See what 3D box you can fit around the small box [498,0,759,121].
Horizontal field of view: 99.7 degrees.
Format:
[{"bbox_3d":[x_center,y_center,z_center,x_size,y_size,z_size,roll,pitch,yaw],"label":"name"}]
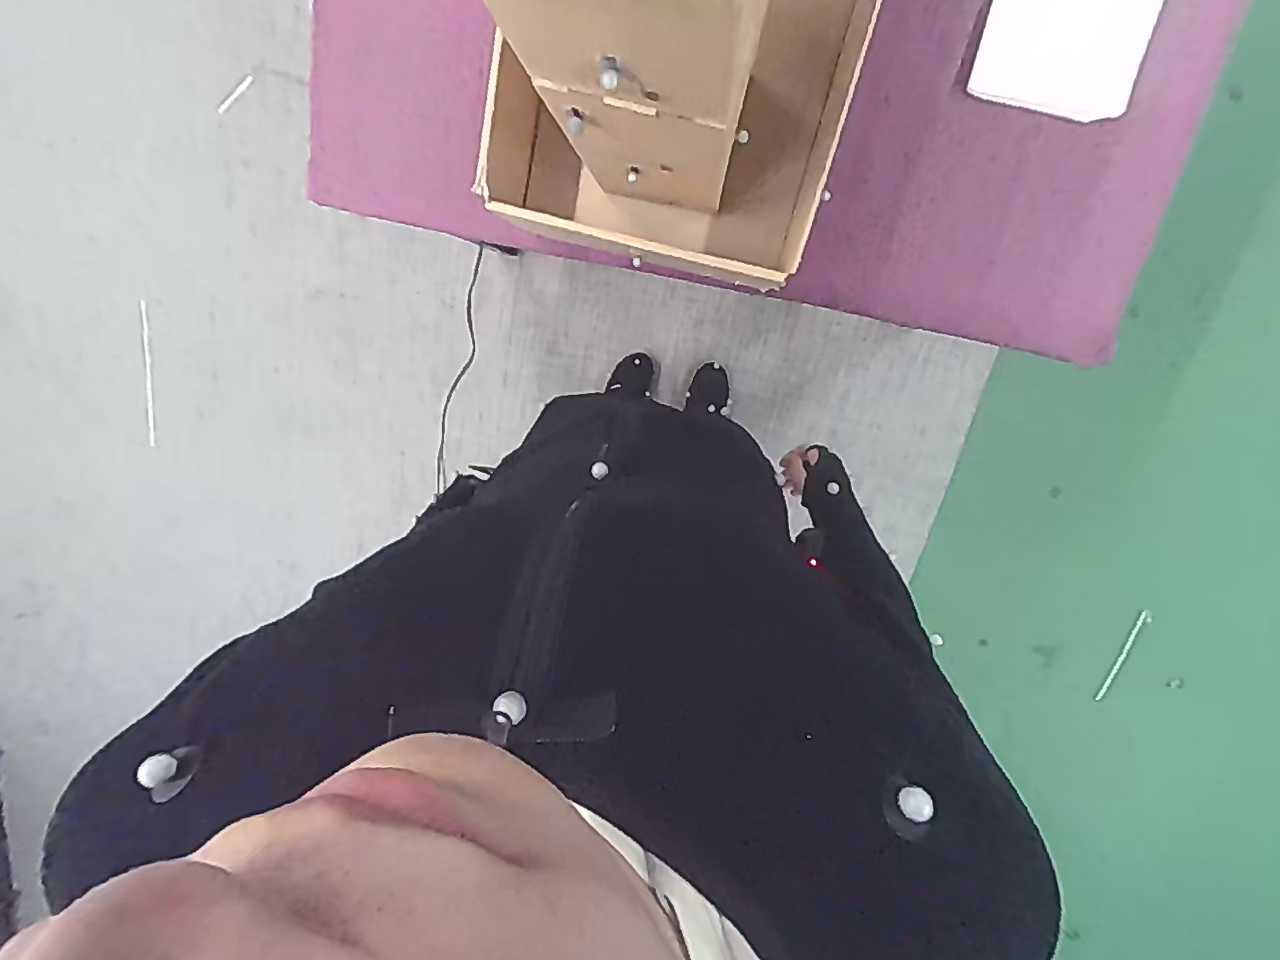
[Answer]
[{"bbox_3d":[0.001,-0.361,0.326,0.168,0.176,0.179,16,106,2],"label":"small box"}]
